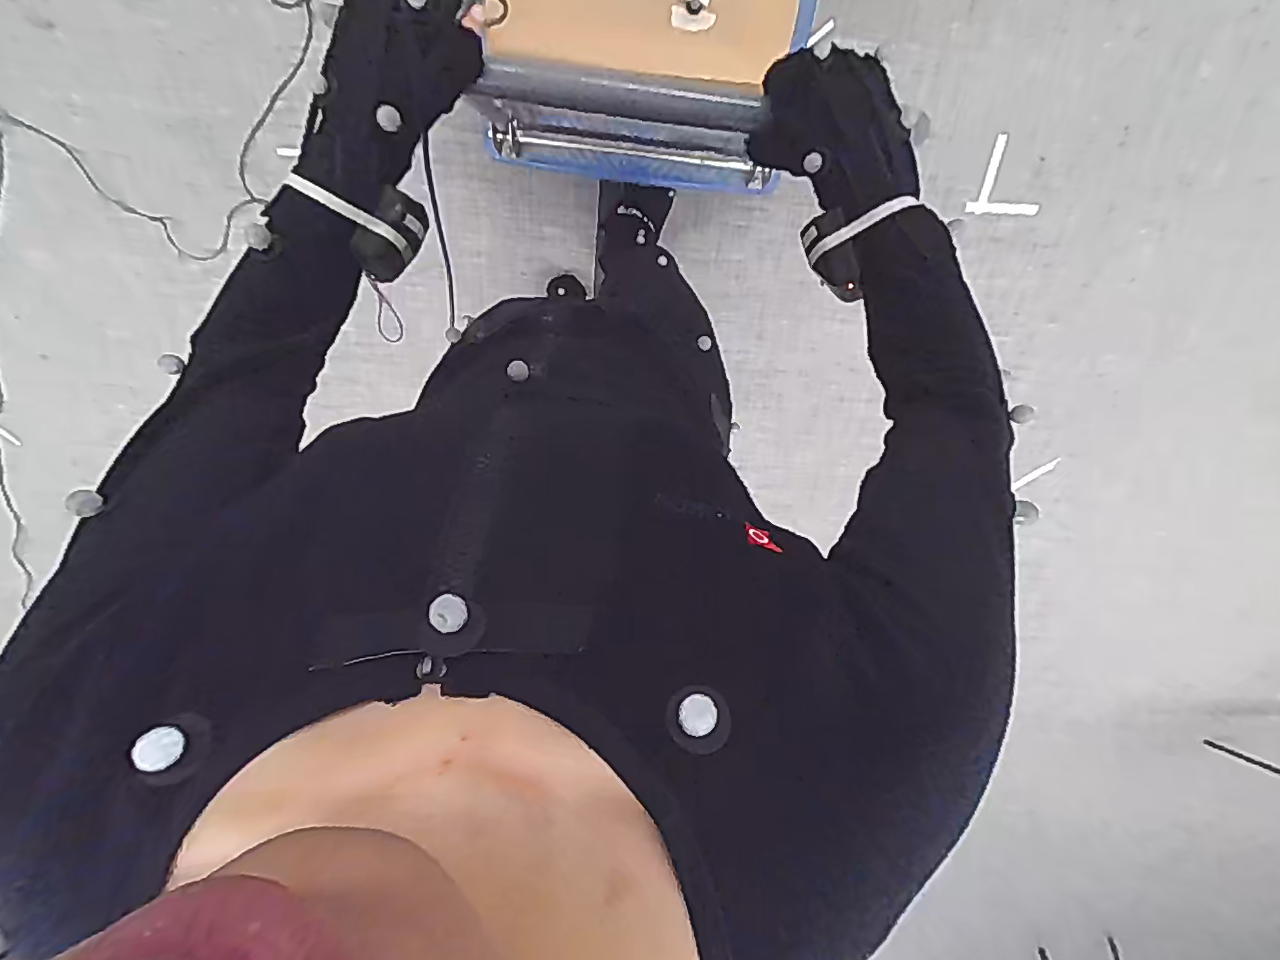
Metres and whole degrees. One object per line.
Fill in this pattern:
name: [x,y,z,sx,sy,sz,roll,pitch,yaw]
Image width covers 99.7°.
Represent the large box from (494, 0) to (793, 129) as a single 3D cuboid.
large box: [0.002,-0.748,0.822,0.408,0.320,0.320,4,120,-6]
